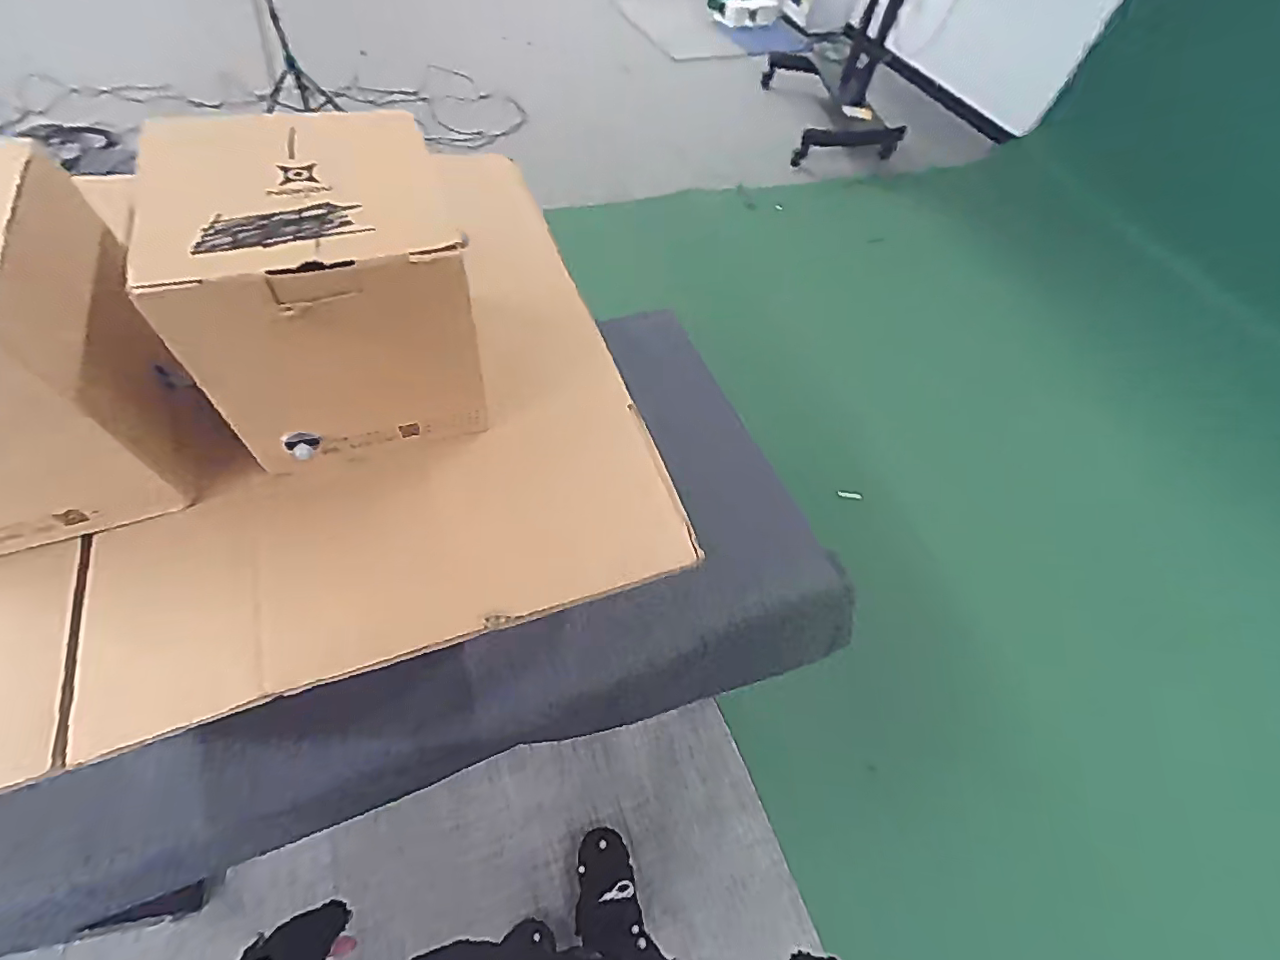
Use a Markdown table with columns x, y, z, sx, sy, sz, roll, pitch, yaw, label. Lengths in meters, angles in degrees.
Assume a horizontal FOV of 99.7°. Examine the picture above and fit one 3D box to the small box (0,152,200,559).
| x | y | z | sx | sy | sz | roll | pitch | yaw | label |
| --- | --- | --- | --- | --- | --- | --- | --- | --- | --- |
| -0.416 | -0.069 | 0.338 | 0.168 | 0.176 | 0.179 | -17 | 60 | -15 | small box |
